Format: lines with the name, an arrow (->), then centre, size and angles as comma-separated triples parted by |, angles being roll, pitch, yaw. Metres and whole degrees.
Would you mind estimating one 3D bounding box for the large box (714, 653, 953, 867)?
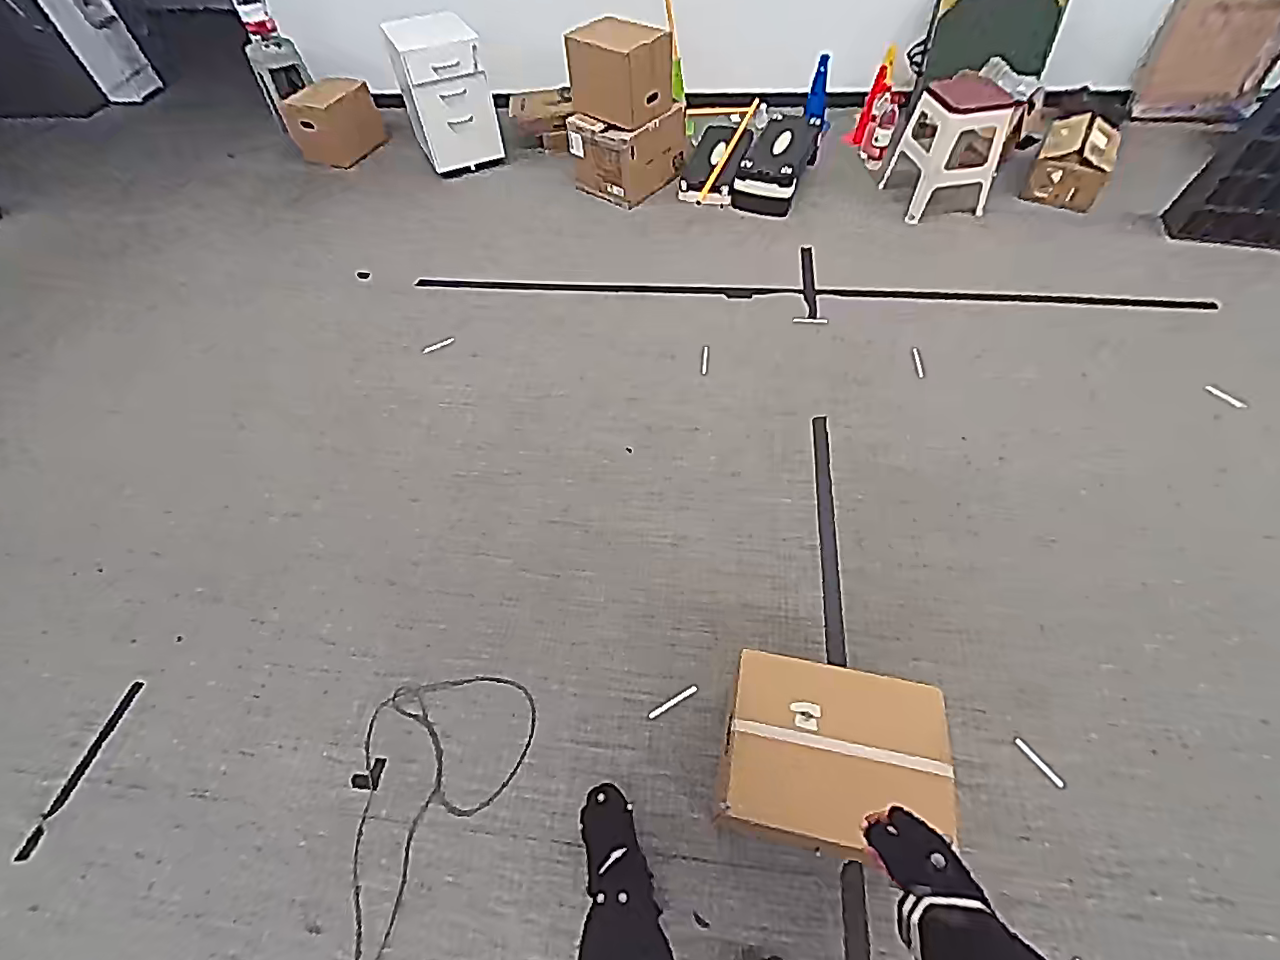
large box -> 0.385, 0.602, 1.163 | 0.408, 0.320, 0.320 | 8, 55, 9
